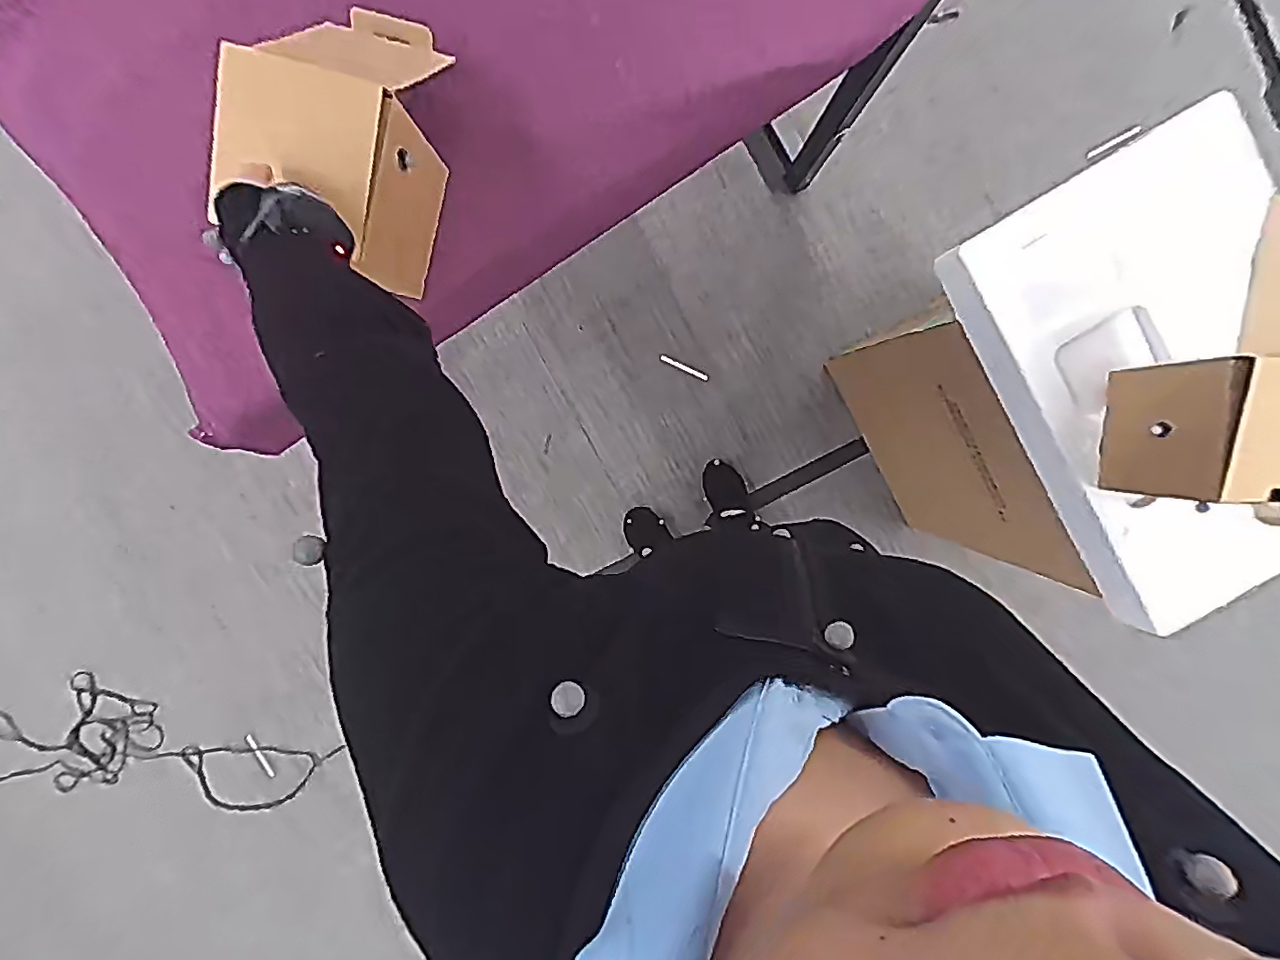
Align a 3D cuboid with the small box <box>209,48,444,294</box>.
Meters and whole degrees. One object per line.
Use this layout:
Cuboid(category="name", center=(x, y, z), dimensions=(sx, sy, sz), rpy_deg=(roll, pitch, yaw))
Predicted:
Cuboid(category="small box", center=(-0.351, -0.345, 0.641), dimensions=(0.168, 0.176, 0.179), rpy_deg=(15, 95, -1))
